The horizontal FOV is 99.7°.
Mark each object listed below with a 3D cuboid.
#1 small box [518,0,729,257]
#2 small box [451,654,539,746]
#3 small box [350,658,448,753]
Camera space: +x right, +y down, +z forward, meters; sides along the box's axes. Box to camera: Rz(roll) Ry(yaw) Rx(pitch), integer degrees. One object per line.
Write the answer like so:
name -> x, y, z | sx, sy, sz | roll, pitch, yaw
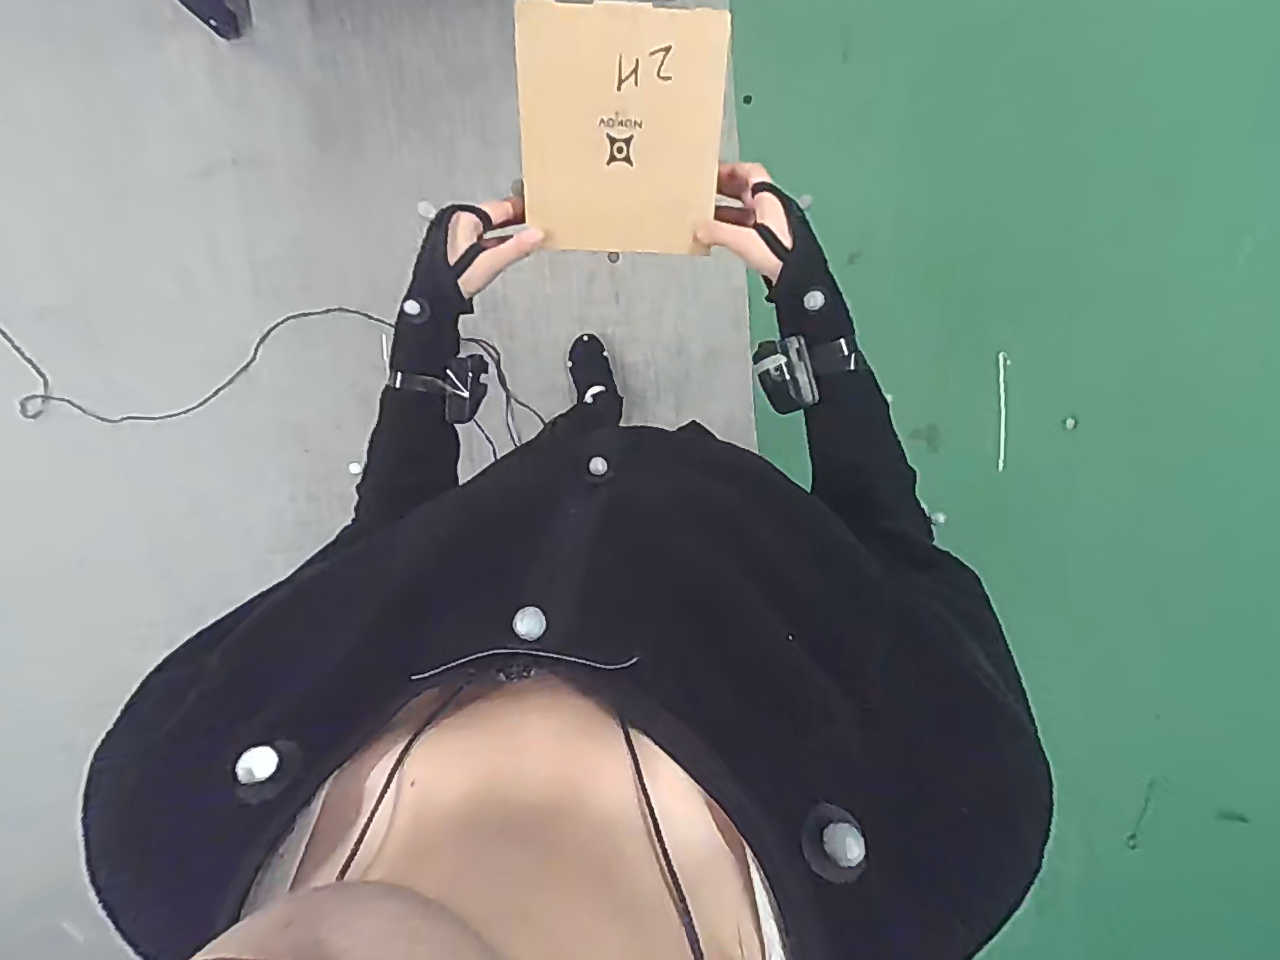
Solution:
small box -> -0.018, -0.317, 0.520 | 0.168, 0.176, 0.179 | 1, 115, -3
small box -> -0.382, 0.586, 1.463 | 0.179, 0.176, 0.168 | -10, 94, 6
small box -> -0.646, 0.609, 1.480 | 0.179, 0.176, 0.168 | -13, 95, 4
